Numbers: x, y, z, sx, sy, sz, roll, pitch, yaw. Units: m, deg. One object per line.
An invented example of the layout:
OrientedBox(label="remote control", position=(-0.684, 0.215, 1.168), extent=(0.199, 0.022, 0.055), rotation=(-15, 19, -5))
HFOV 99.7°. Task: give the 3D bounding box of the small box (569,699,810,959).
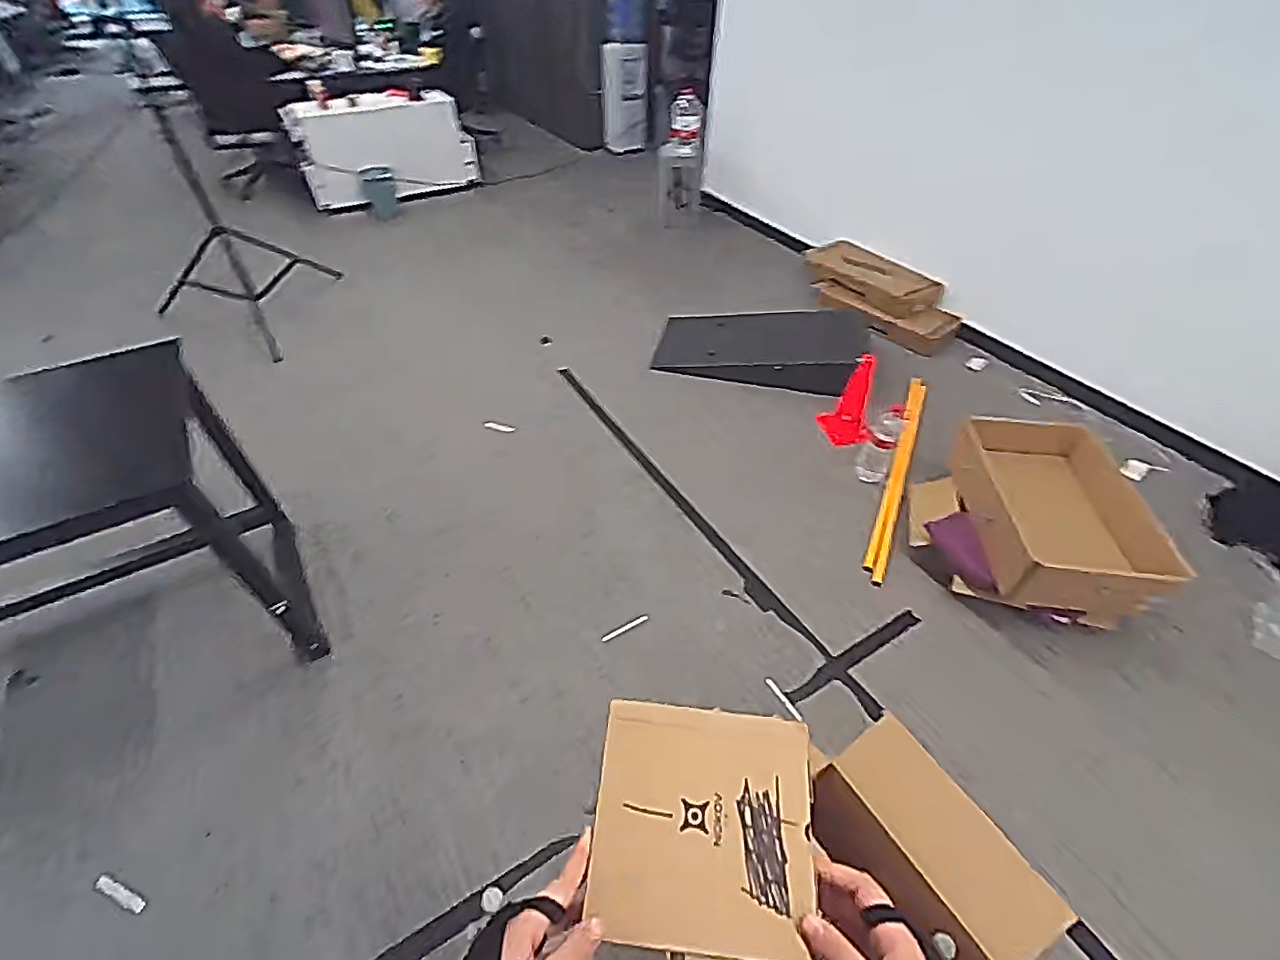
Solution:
OrientedBox(label="small box", position=(0.040, 0.315, 0.495), extent=(0.179, 0.176, 0.168), rotation=(6, 55, 2))
